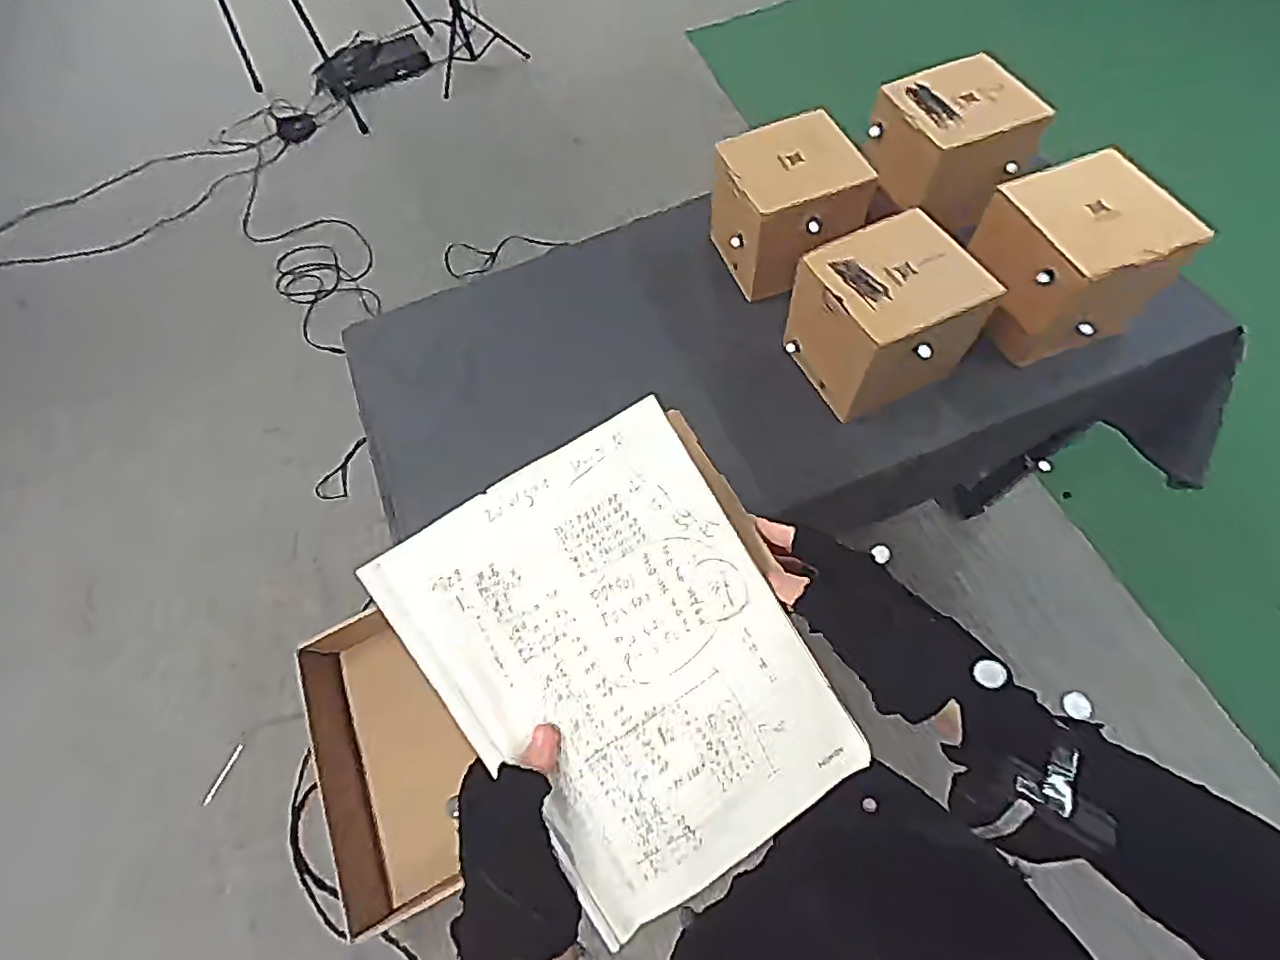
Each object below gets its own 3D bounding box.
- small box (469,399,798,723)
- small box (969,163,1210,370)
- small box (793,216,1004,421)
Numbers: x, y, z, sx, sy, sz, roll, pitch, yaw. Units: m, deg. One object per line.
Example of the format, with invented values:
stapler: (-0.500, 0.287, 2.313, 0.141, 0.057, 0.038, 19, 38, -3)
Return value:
small box: (-0.005, 0.071, 0.437, 0.179, 0.176, 0.168, -27, 73, -7)
small box: (0.571, -0.282, 0.734, 0.168, 0.176, 0.179, -19, 64, -3)
small box: (0.321, -0.206, 0.722, 0.179, 0.176, 0.168, -23, 64, -6)
